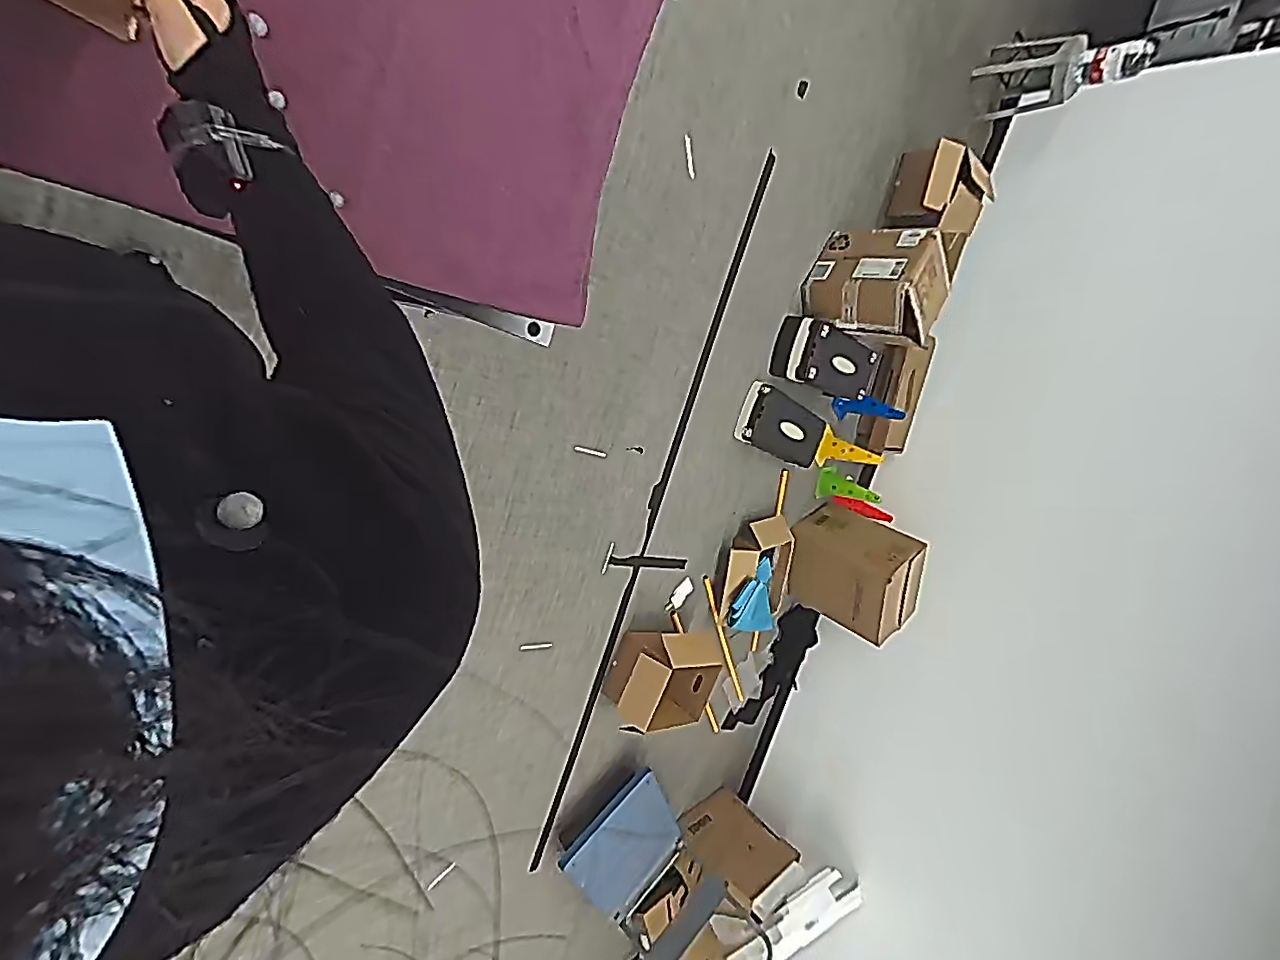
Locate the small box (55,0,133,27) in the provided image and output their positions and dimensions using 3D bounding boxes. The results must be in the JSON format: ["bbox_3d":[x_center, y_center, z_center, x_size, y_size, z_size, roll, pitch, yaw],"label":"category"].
[{"bbox_3d":[-0.446,-0.477,0.374,0.168,0.176,0.179,12,99,-47],"label":"small box"}]
